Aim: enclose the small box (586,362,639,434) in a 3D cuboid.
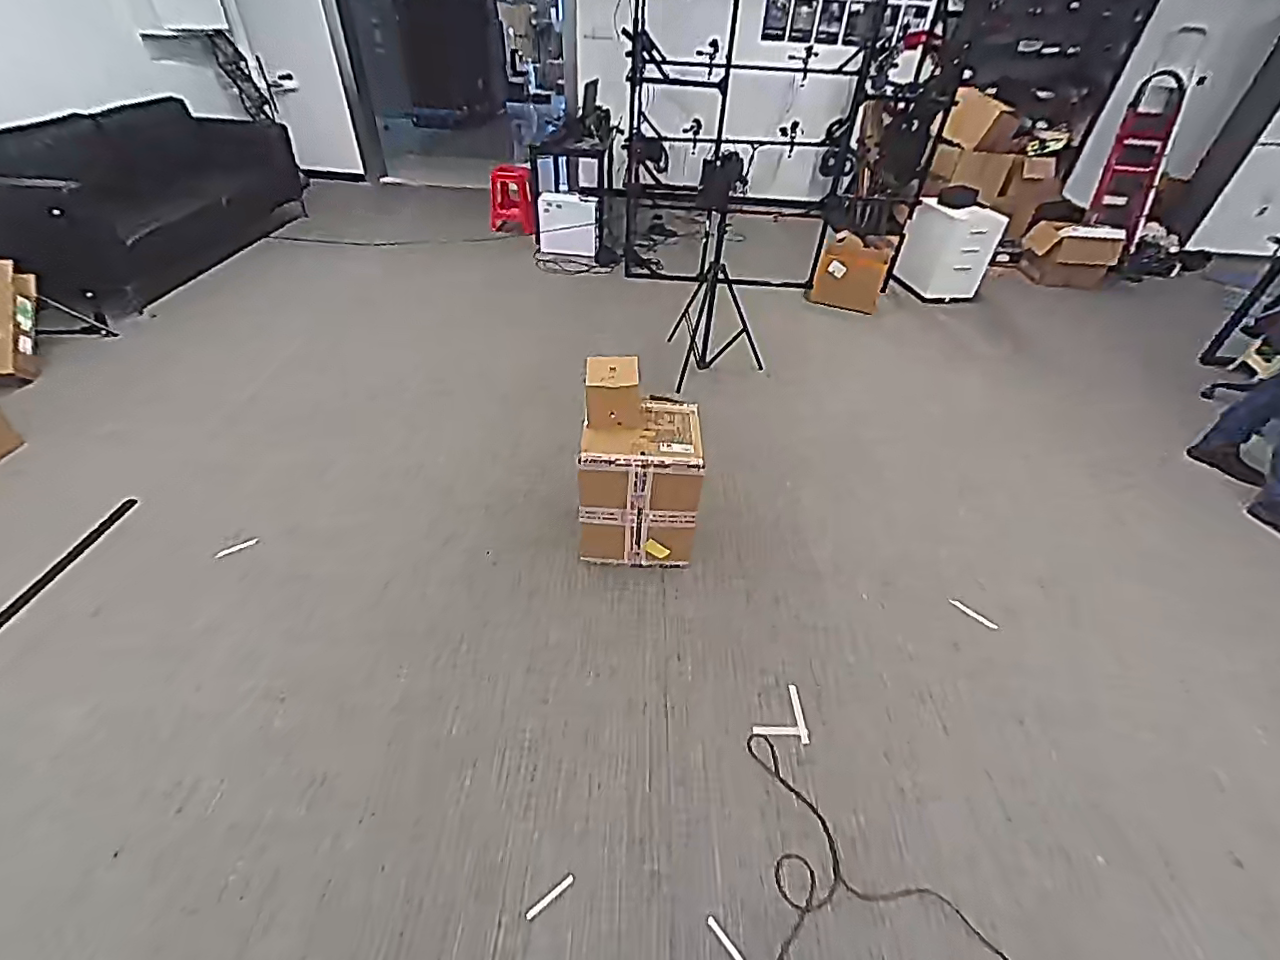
[{"bbox_3d":[-0.089,-0.270,1.773,0.168,0.176,0.179,-1,43,-2],"label":"small box"}]
